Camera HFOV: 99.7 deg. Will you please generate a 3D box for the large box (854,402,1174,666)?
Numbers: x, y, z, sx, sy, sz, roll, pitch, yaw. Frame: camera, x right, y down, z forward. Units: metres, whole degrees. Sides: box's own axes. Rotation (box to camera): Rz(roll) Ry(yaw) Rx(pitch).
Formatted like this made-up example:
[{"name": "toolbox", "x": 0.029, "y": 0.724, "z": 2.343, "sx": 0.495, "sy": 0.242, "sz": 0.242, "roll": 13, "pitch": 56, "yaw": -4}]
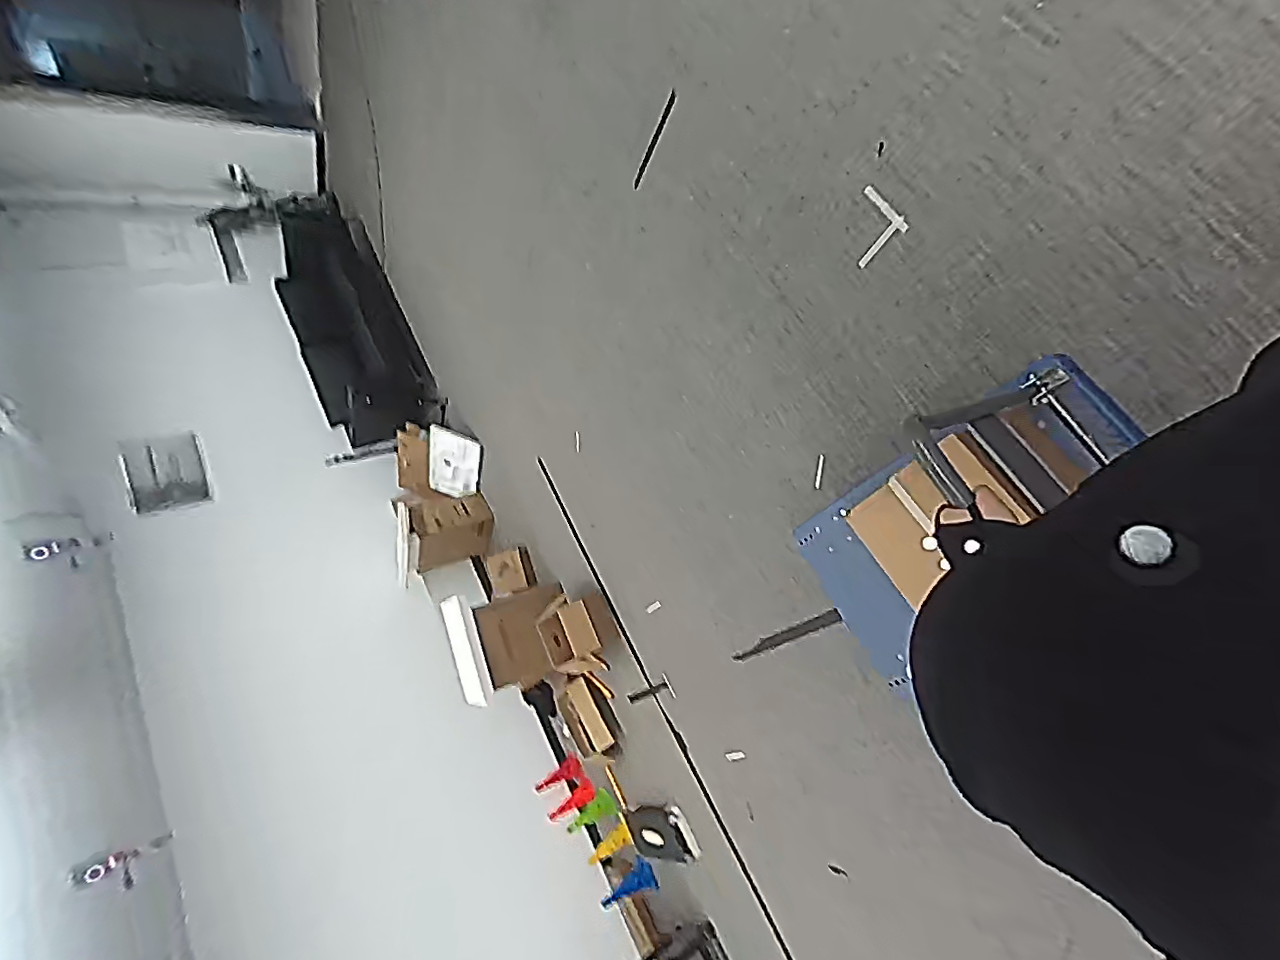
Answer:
[{"name": "large box", "x": 0.753, "y": 0.102, "z": 1.126, "sx": 0.408, "sy": 0.320, "sz": 0.320, "roll": 59, "pitch": 143, "yaw": 21}]
